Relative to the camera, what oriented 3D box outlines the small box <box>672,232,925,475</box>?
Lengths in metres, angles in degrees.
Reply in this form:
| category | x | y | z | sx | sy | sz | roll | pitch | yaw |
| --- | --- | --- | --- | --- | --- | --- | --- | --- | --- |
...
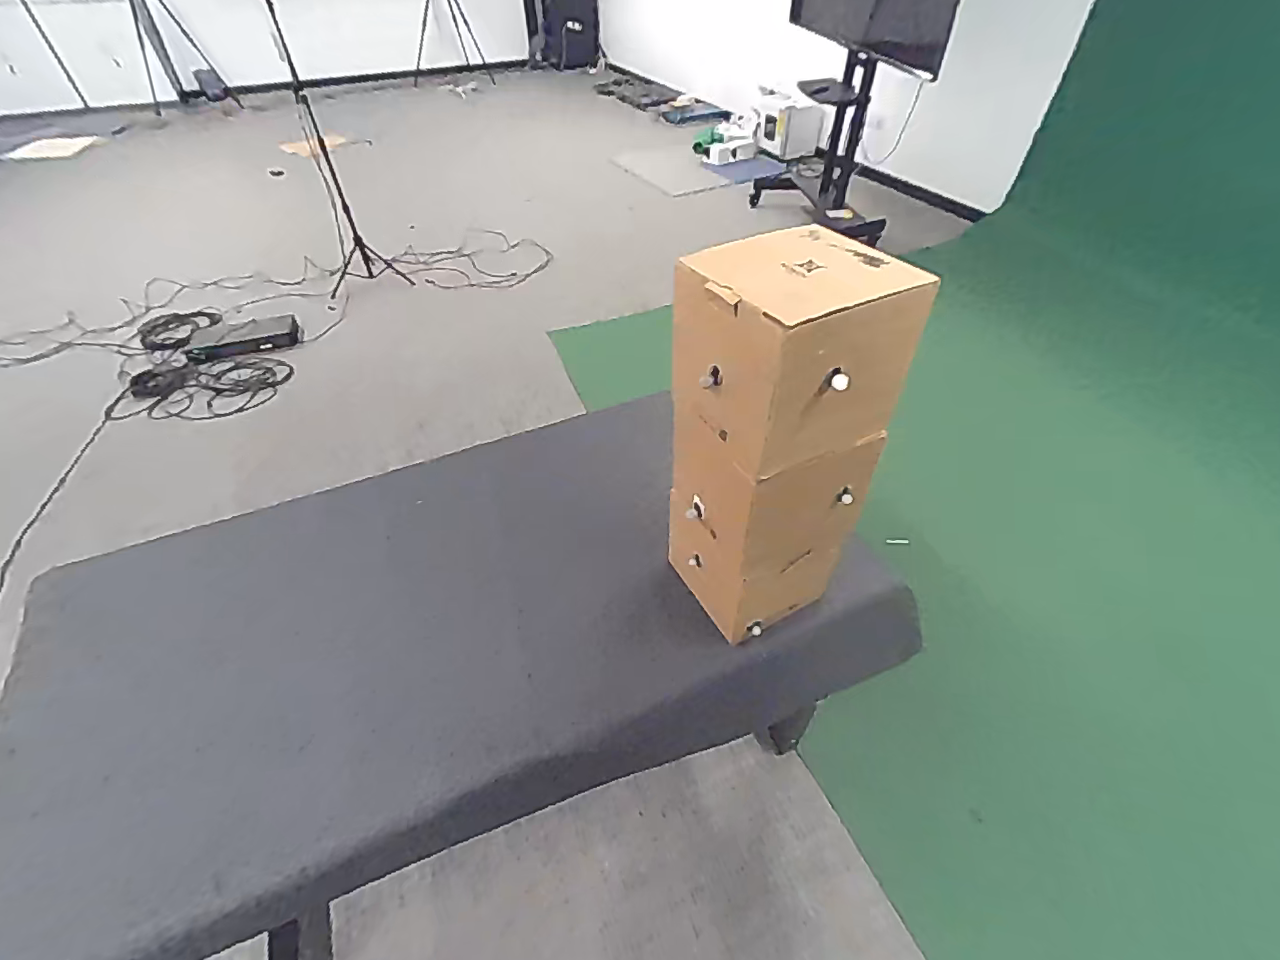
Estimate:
| category | x | y | z | sx | sy | sz | roll | pitch | yaw |
| --- | --- | --- | --- | --- | --- | --- | --- | --- | --- |
| small box | 0.149 | -0.132 | 0.562 | 0.179 | 0.176 | 0.168 | -22 | 47 | -19 |

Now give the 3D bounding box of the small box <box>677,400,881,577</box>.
| category | x | y | z | sx | sy | sz | roll | pitch | yaw |
| --- | --- | --- | --- | --- | --- | --- | --- | --- | --- |
| small box | 0.157 | -0.012 | 0.674 | 0.179 | 0.176 | 0.168 | -21 | 47 | -17 |

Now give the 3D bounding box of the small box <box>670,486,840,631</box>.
| category | x | y | z | sx | sy | sz | roll | pitch | yaw |
| --- | --- | --- | --- | --- | --- | --- | --- | --- | --- |
| small box | 0.158 | 0.096 | 0.794 | 0.168 | 0.176 | 0.179 | -22 | 47 | -19 |
